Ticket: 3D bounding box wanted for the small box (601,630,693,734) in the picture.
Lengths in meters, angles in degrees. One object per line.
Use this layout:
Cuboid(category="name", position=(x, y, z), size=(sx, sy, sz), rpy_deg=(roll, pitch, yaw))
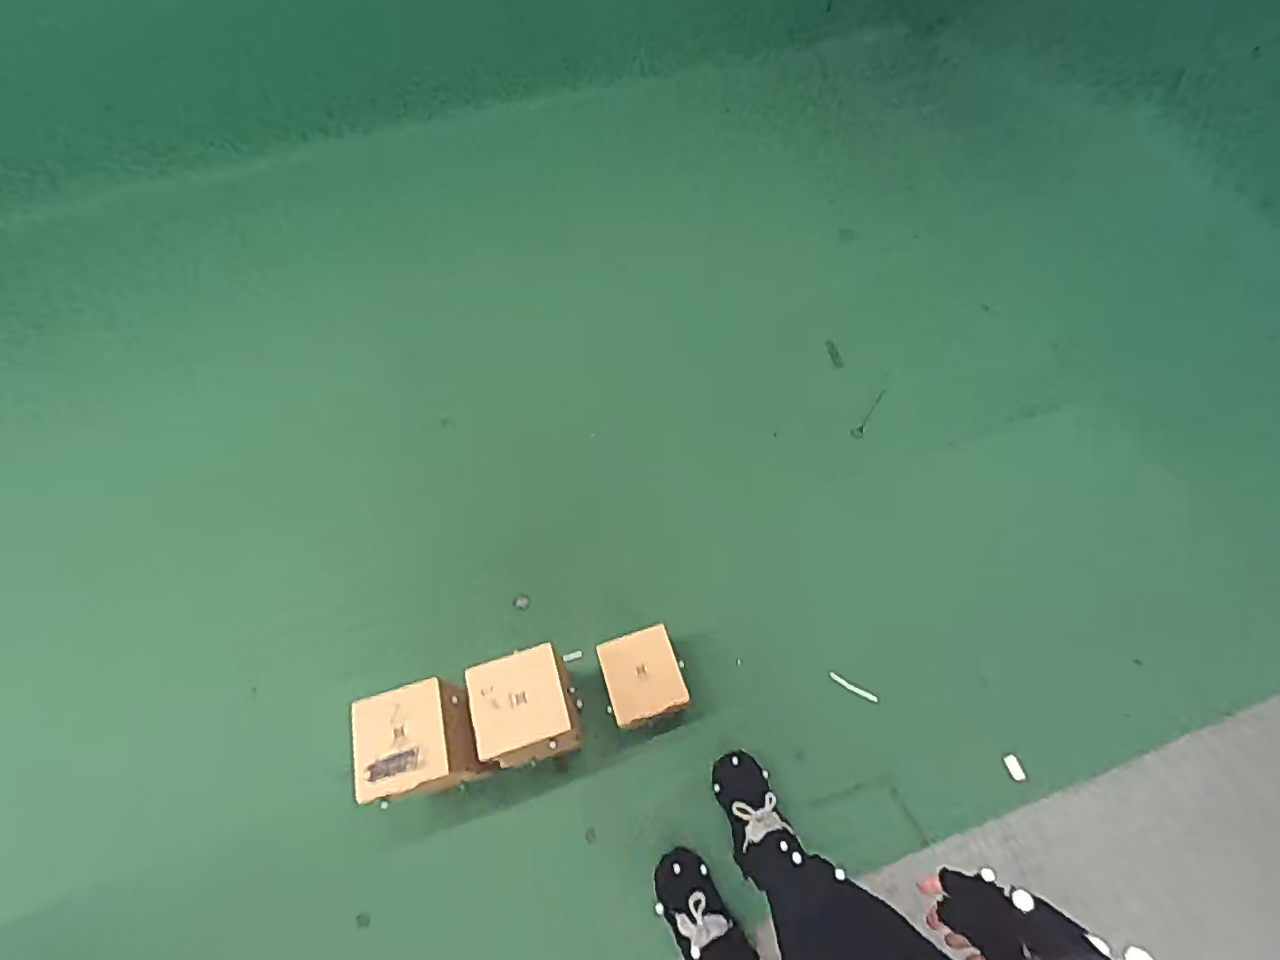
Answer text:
Cuboid(category="small box", position=(0.014, 0.480, 1.272), size=(0.168, 0.176, 0.179), rpy_deg=(-18, 63, -8))
